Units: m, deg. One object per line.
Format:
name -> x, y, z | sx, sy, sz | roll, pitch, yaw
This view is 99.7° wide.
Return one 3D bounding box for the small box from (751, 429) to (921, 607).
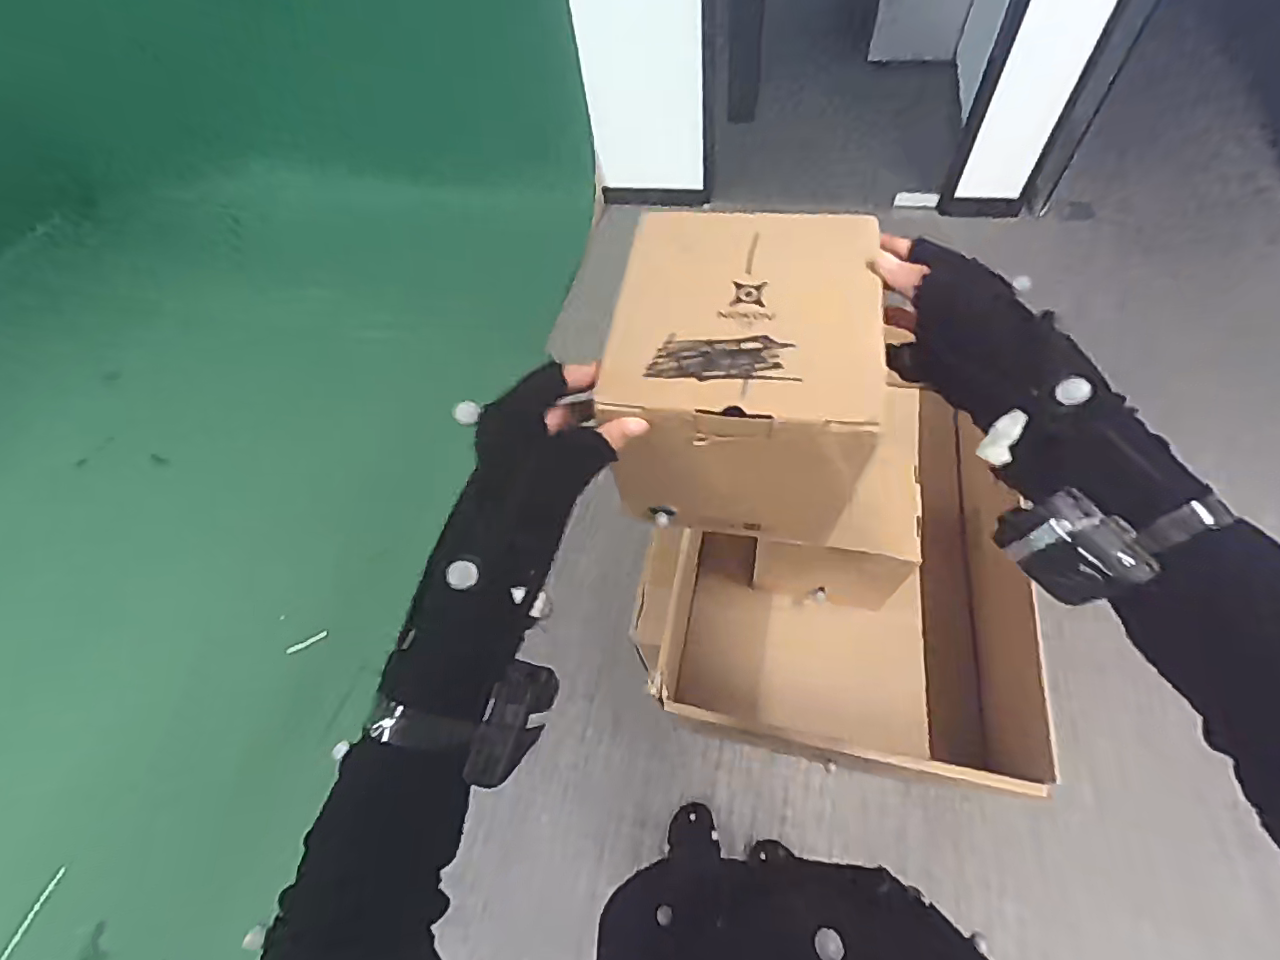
small box -> 0.252, 0.057, 0.723 | 0.179, 0.176, 0.168 | 9, 58, 11
